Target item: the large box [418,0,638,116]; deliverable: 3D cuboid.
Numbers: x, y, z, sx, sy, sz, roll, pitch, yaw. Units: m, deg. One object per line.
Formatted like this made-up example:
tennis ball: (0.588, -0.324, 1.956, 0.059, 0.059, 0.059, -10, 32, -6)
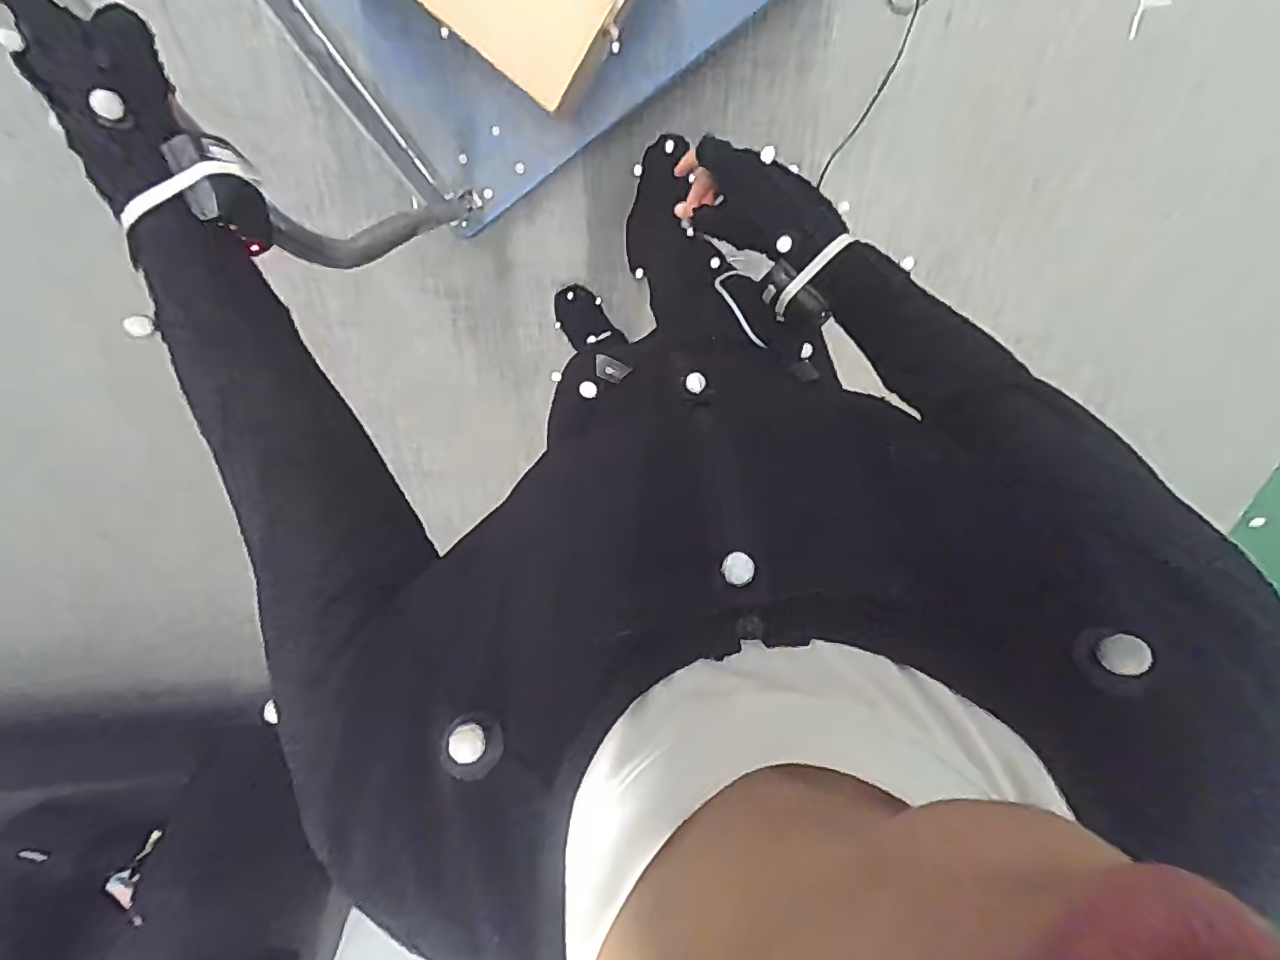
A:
large box: (-0.192, -0.790, 0.747, 0.408, 0.320, 0.320, 32, 114, -19)
